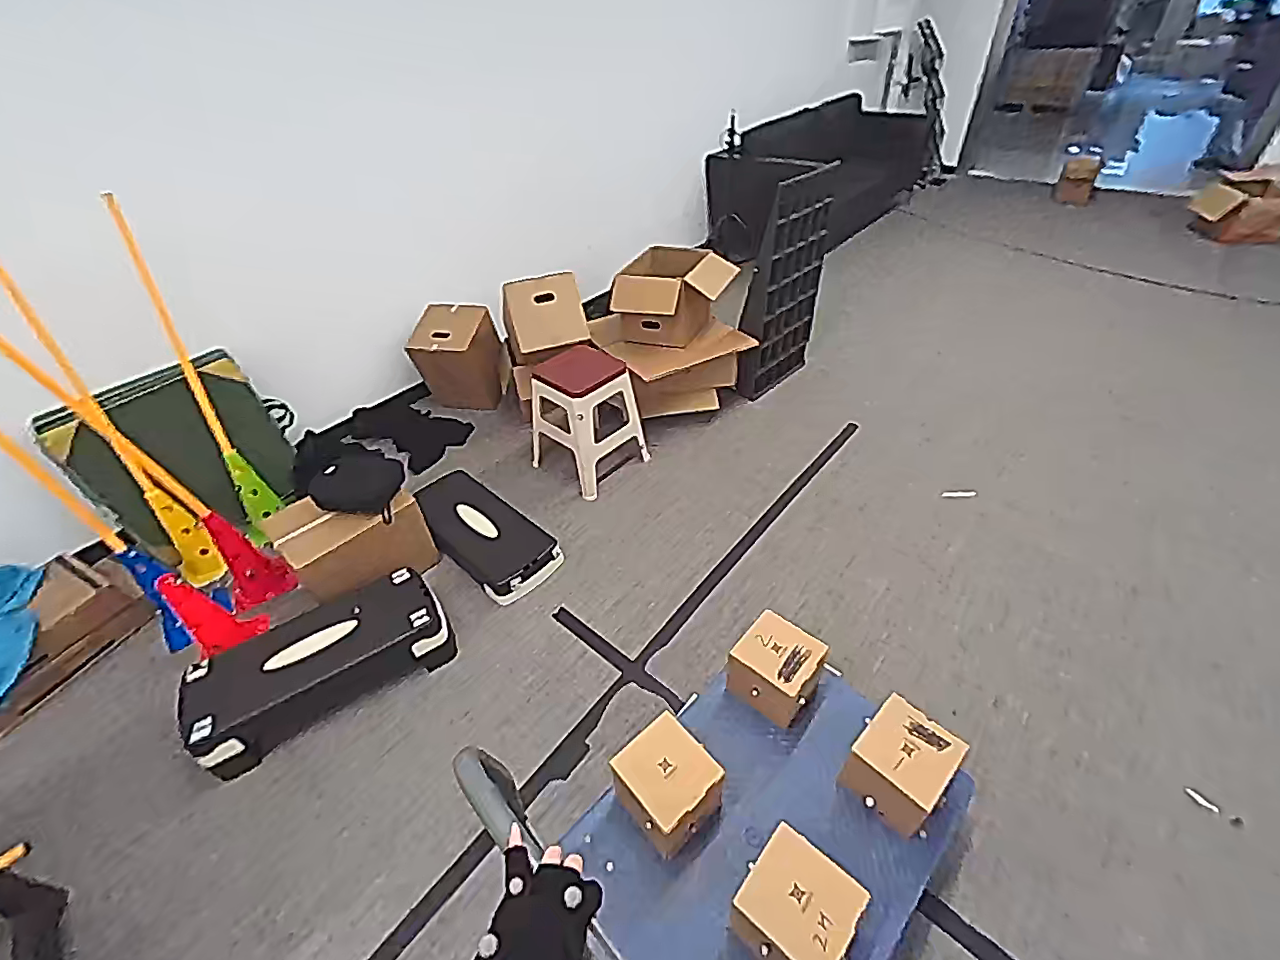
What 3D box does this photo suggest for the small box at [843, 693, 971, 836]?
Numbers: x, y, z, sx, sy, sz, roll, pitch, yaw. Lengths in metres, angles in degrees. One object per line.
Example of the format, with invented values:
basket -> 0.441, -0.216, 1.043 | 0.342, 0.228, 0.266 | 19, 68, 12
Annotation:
small box -> 0.554, 0.600, 1.144 | 0.179, 0.176, 0.168 | -33, 49, -28

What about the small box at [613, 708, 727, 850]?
small box -> 0.061, 0.634, 1.145 | 0.168, 0.176, 0.179 | -31, 49, -28

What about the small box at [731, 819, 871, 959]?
small box -> 0.279, 0.768, 0.972 | 0.179, 0.176, 0.168 | 29, 51, 33
